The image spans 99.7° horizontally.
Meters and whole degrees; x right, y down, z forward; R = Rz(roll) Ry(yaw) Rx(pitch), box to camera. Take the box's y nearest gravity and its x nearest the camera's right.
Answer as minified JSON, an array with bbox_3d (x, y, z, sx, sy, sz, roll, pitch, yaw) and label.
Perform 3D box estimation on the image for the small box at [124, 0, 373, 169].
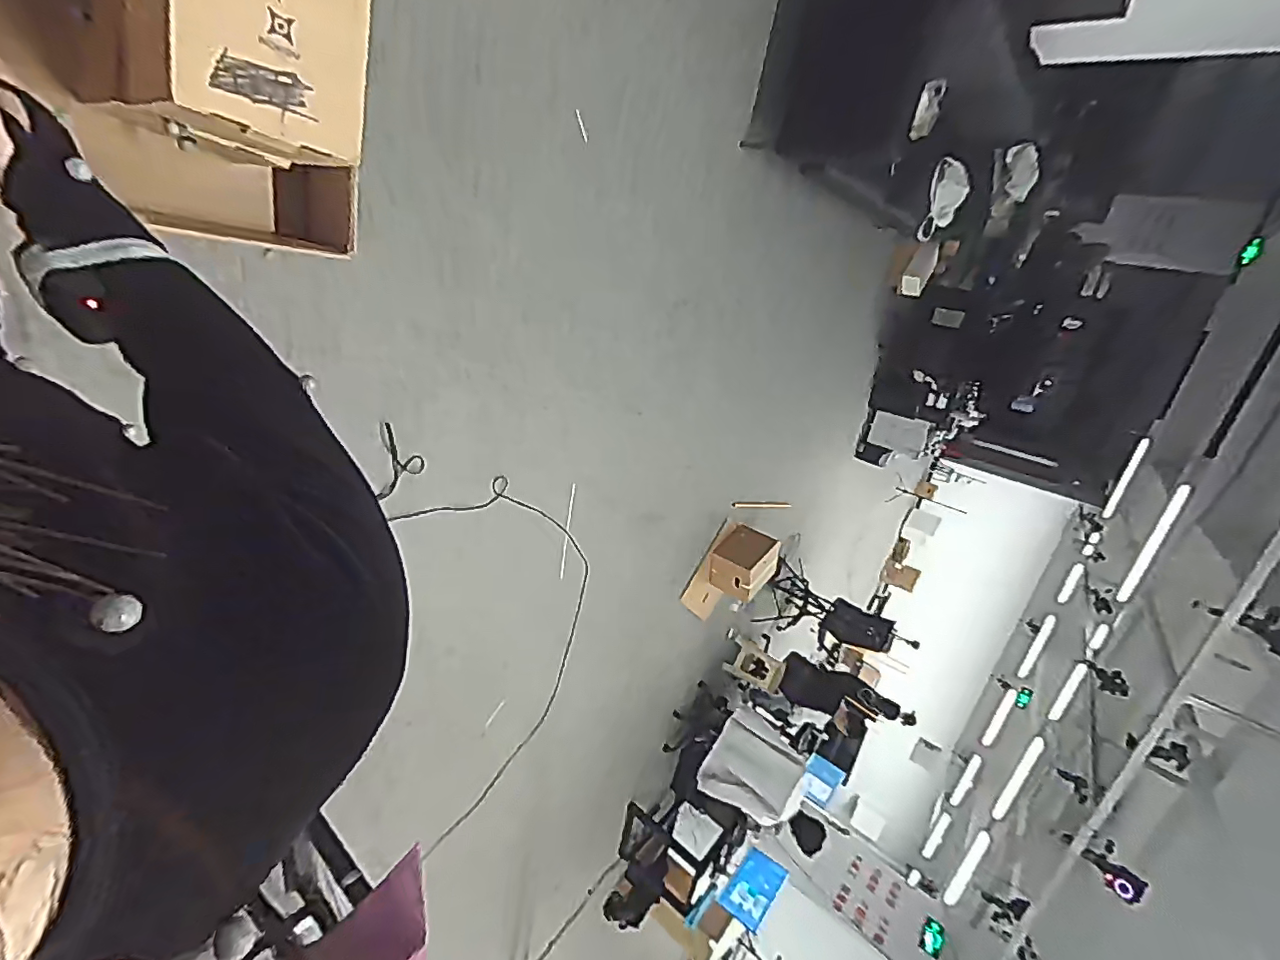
[{"bbox_3d":[-0.404,-0.447,0.561,0.168,0.176,0.179,-10,118,-52],"label":"small box"}]
